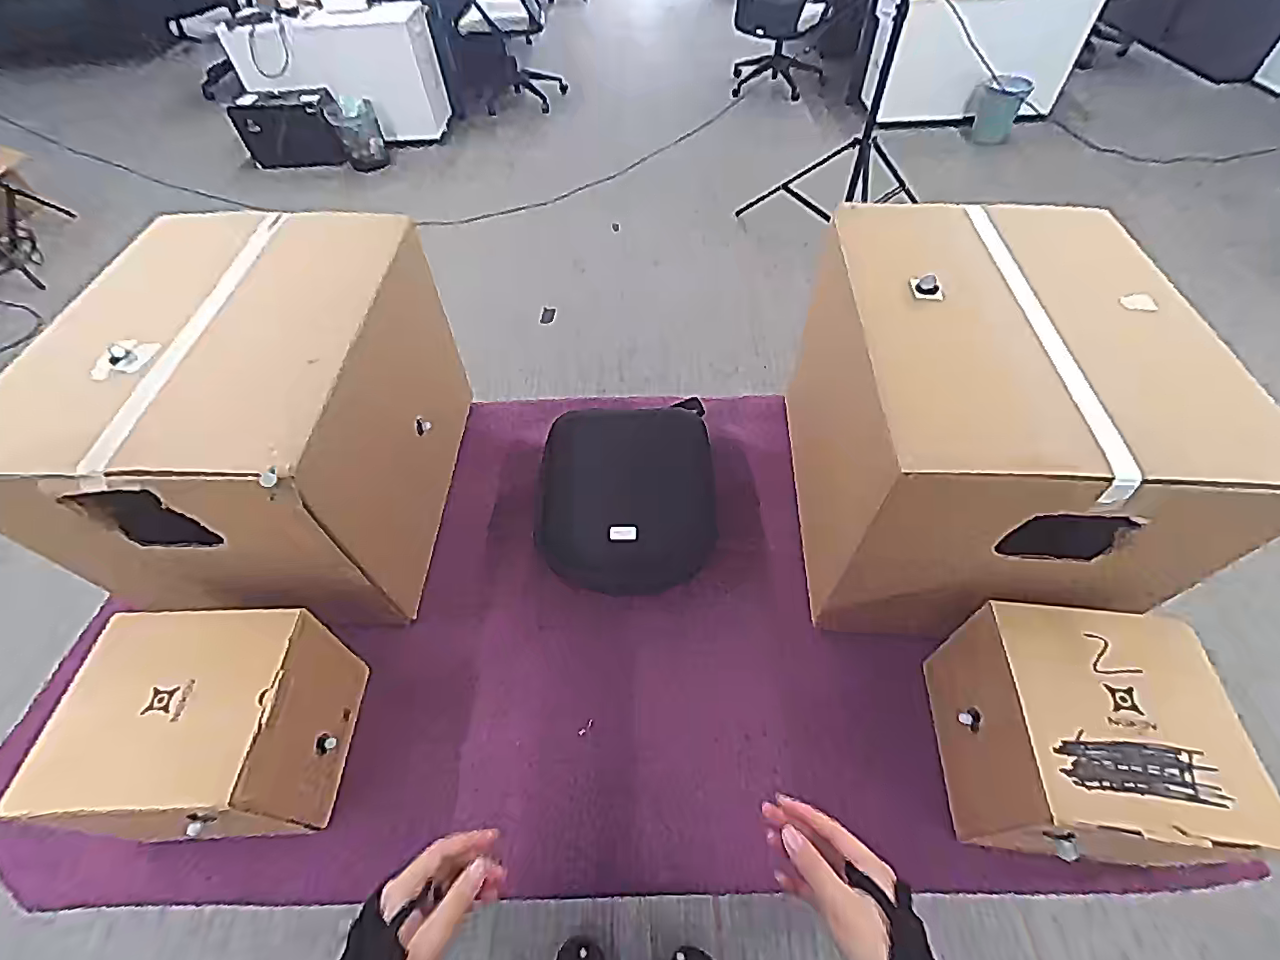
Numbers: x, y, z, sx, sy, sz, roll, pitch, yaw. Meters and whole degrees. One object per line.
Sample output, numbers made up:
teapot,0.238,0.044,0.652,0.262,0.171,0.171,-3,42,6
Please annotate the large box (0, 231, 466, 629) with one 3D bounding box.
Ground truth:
large box,-0.435,-0.058,0.680,0.320,0.320,0.408,-1,55,0
